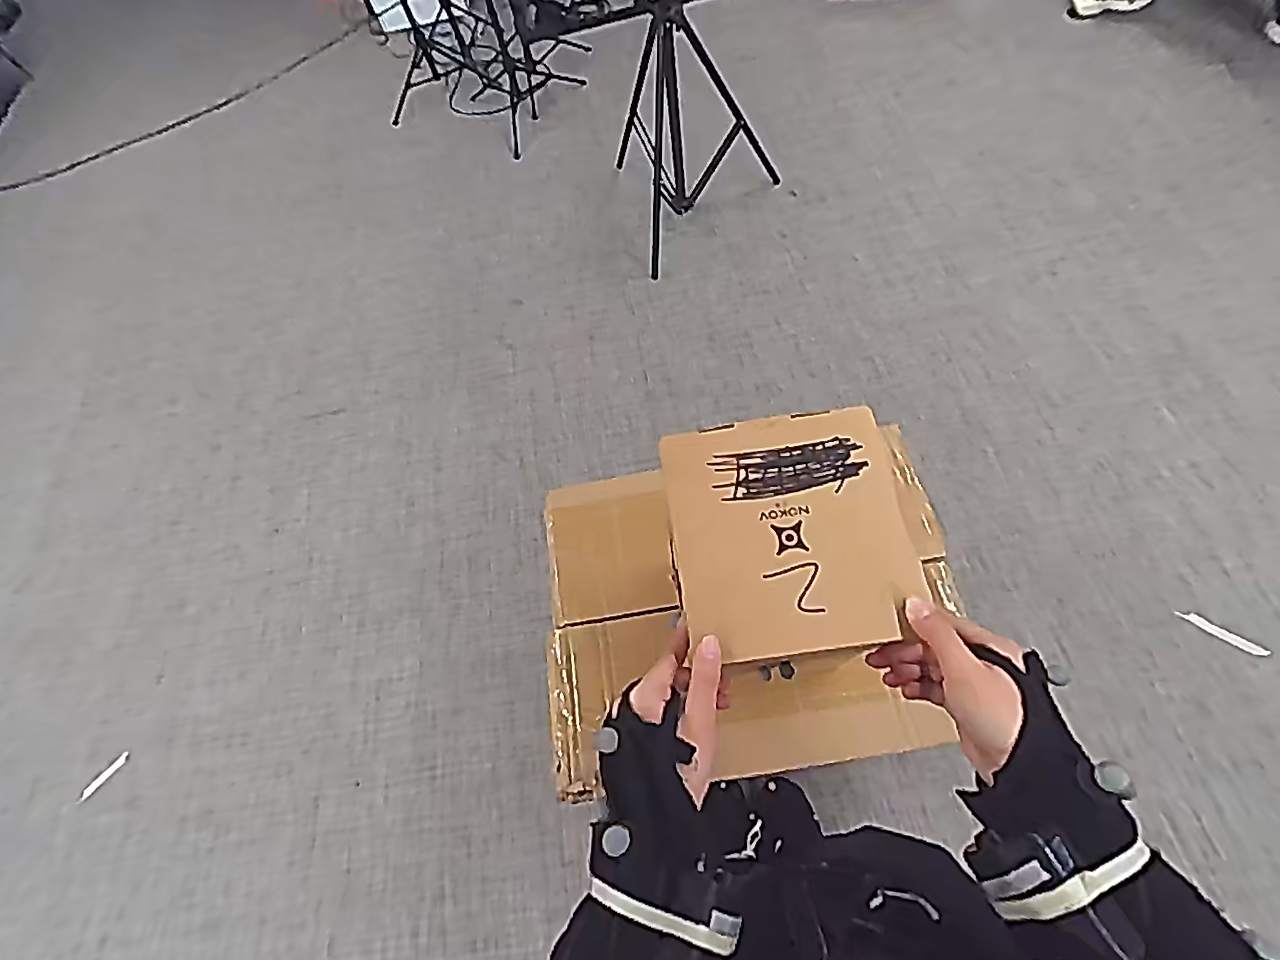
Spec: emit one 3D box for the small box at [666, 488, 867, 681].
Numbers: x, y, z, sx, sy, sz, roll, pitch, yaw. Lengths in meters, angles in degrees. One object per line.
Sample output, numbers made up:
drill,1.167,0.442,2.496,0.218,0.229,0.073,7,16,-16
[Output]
small box,0.133,0.128,0.620,0.179,0.176,0.168,-9,64,4
